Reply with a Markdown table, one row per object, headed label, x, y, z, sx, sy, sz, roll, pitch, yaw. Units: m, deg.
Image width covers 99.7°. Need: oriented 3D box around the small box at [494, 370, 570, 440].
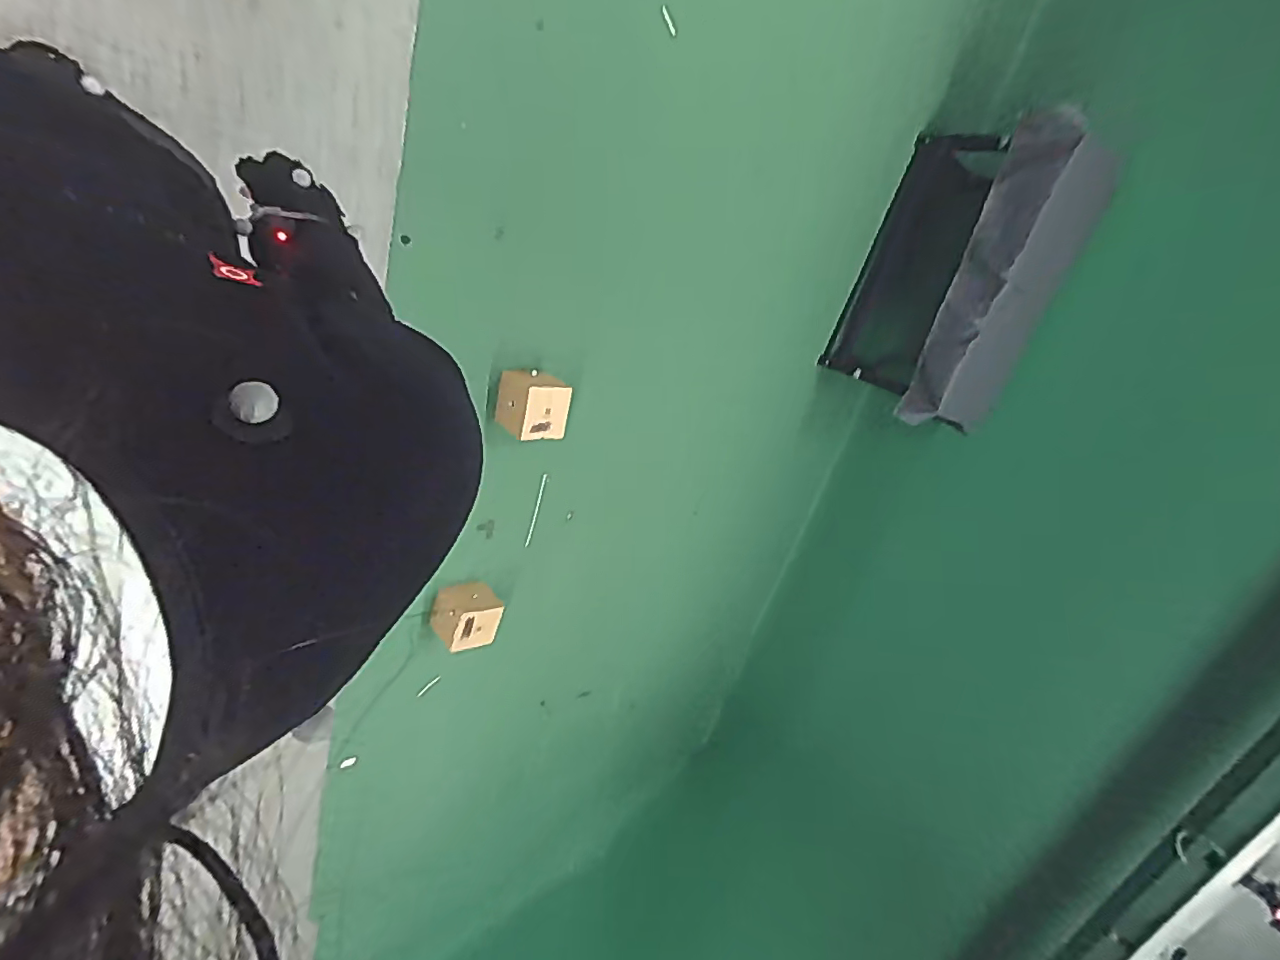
| label | x | y | z | sx | sy | sz | roll | pitch | yaw |
| --- | --- | --- | --- | --- | --- | --- | --- | --- | --- |
| small box | -0.354 | -0.241 | 1.746 | 0.168 | 0.176 | 0.179 | -8 | 121 | -45 |
